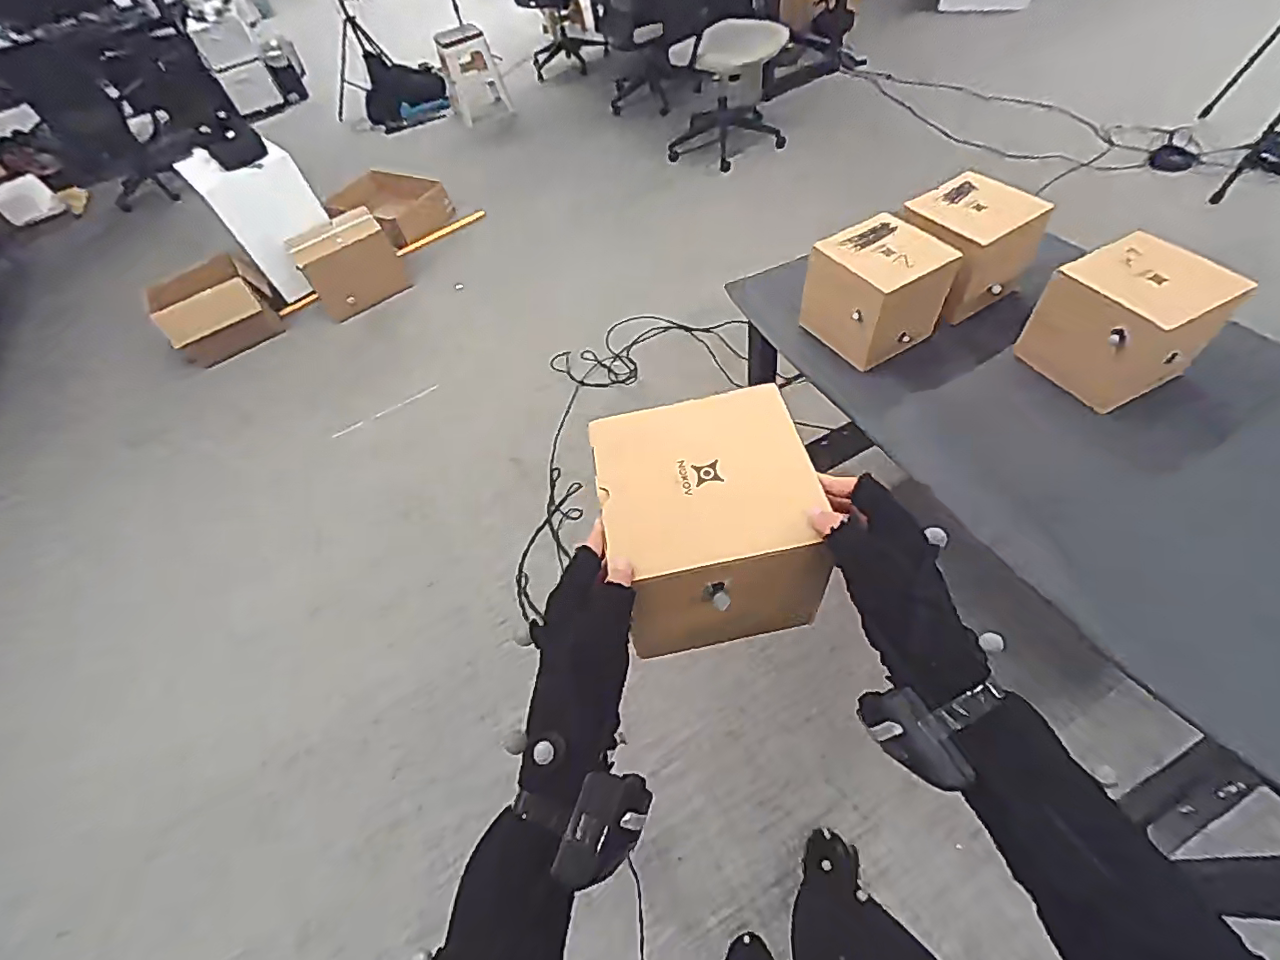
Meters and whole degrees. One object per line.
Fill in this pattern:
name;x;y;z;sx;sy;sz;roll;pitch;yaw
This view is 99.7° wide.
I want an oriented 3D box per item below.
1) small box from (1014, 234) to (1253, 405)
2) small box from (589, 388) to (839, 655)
small box;0.738;-0.239;0.835;0.168;0.176;0.179;-25;54;-8
small box;0.059;0.044;0.501;0.179;0.176;0.168;-12;52;1
